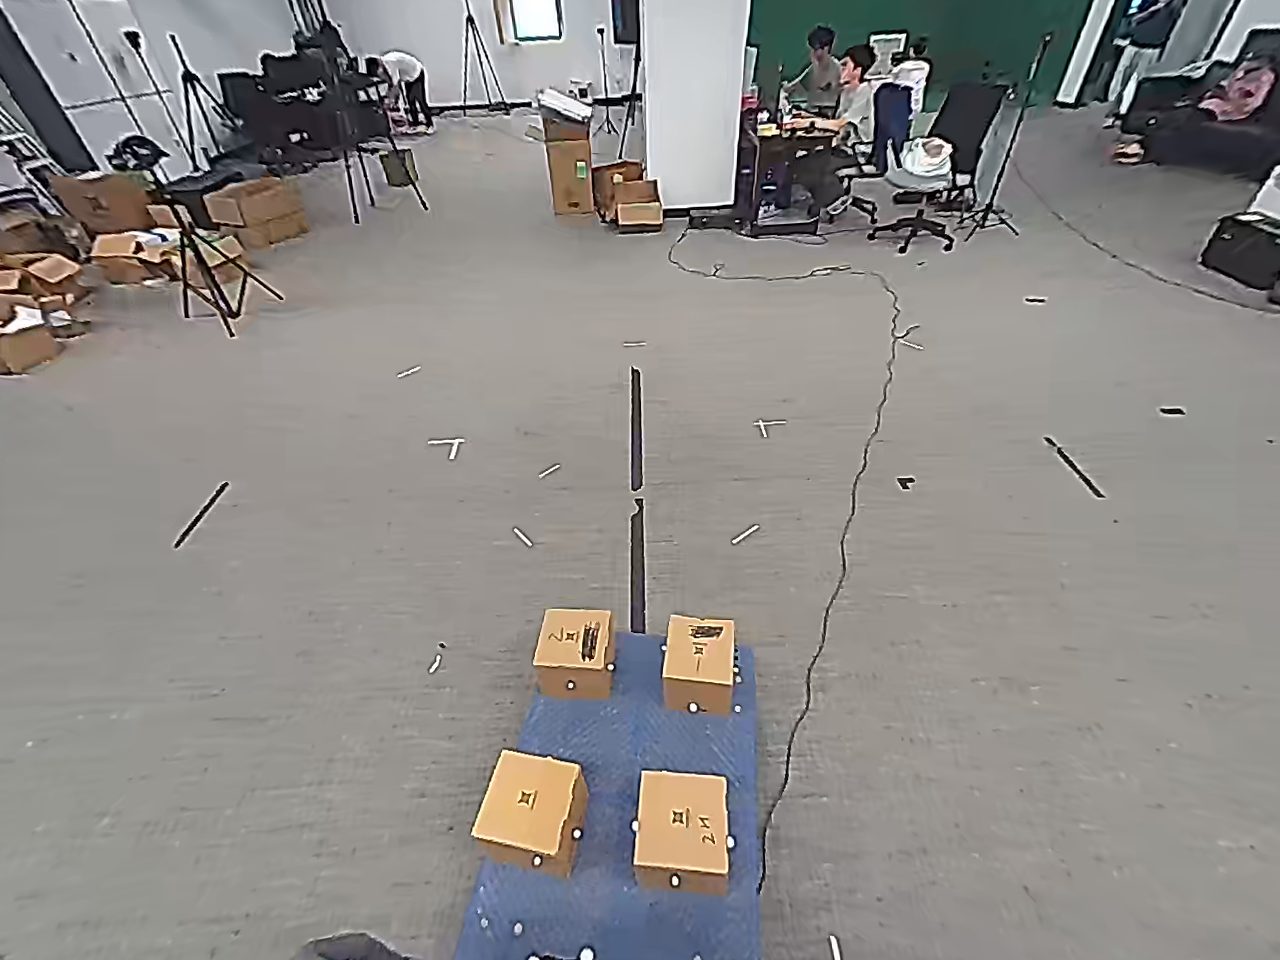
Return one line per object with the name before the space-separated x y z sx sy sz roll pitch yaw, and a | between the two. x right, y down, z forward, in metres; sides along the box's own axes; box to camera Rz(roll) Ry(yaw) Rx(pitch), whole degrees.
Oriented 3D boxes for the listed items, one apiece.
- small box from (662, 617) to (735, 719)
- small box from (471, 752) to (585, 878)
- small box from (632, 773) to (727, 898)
small box | 0.148 0.475 1.368 0.168 0.176 0.179 4 42 8
small box | -0.224 0.702 1.132 0.179 0.176 0.168 7 41 9
small box | 0.083 0.718 1.091 0.179 0.176 0.168 2 41 6
